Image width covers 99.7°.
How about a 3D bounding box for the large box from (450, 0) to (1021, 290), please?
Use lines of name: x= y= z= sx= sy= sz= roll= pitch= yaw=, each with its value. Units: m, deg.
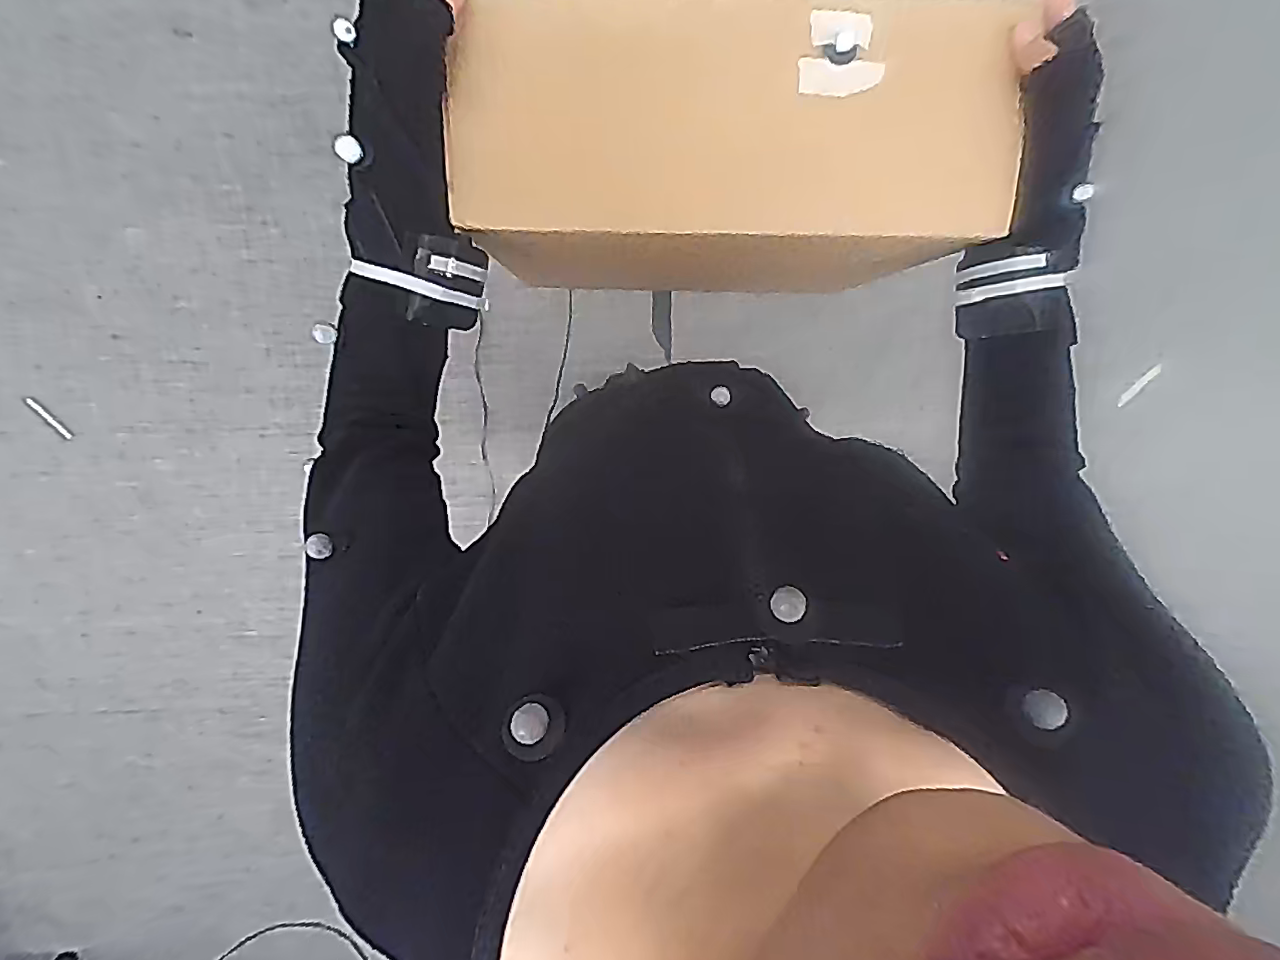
large box: x=0.061 y=-0.368 z=0.516 sx=0.408 sy=0.320 sz=0.320 roll=0 pitch=102 yaw=-2
